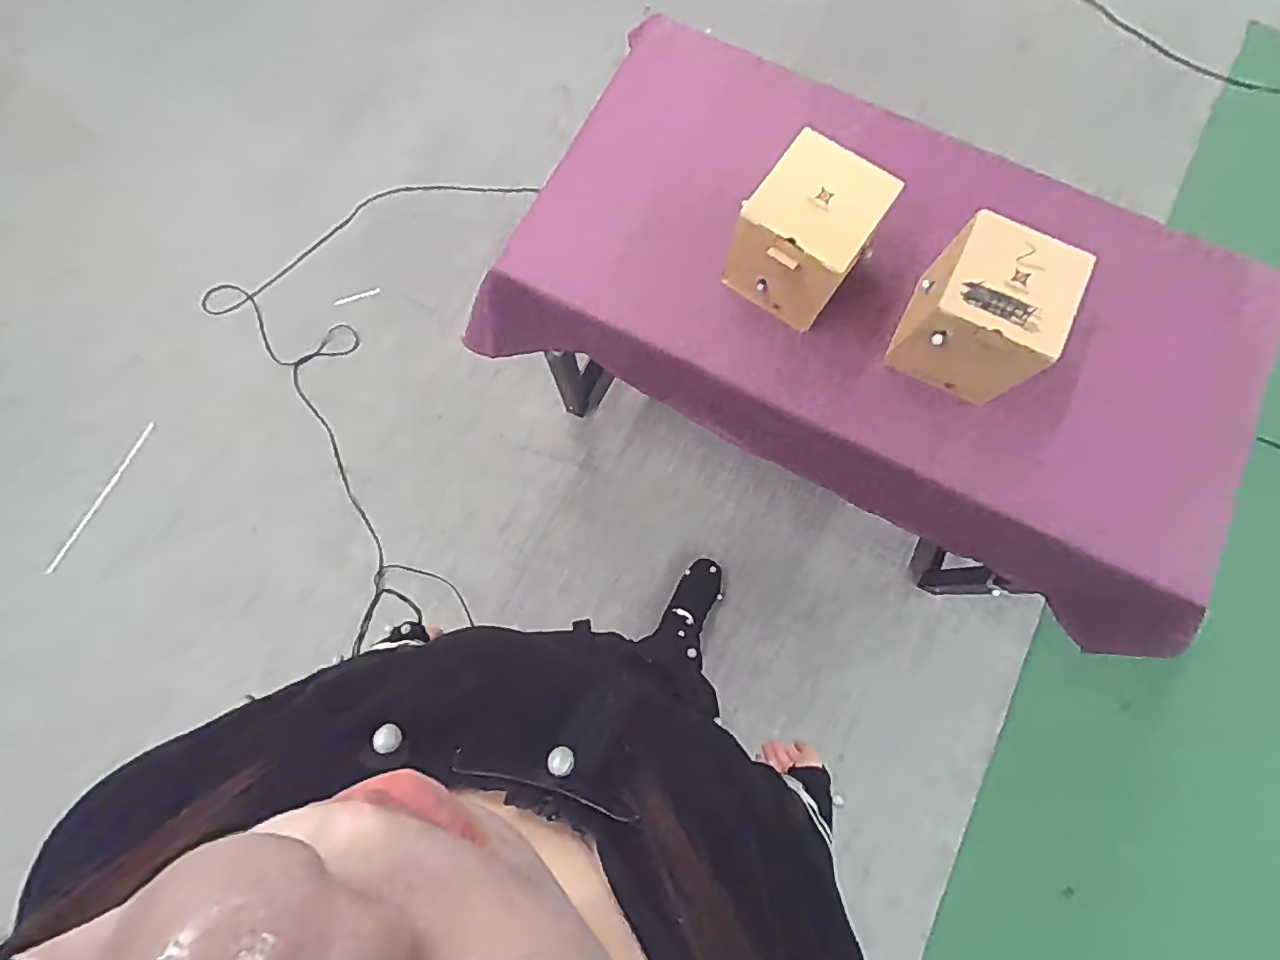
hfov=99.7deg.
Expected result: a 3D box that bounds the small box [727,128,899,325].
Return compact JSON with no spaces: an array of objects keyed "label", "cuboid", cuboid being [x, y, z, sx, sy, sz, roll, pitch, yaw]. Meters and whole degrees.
[{"label":"small box","cuboid":[0.252,-0.380,0.837,0.168,0.176,0.179,35,81,6]}]
